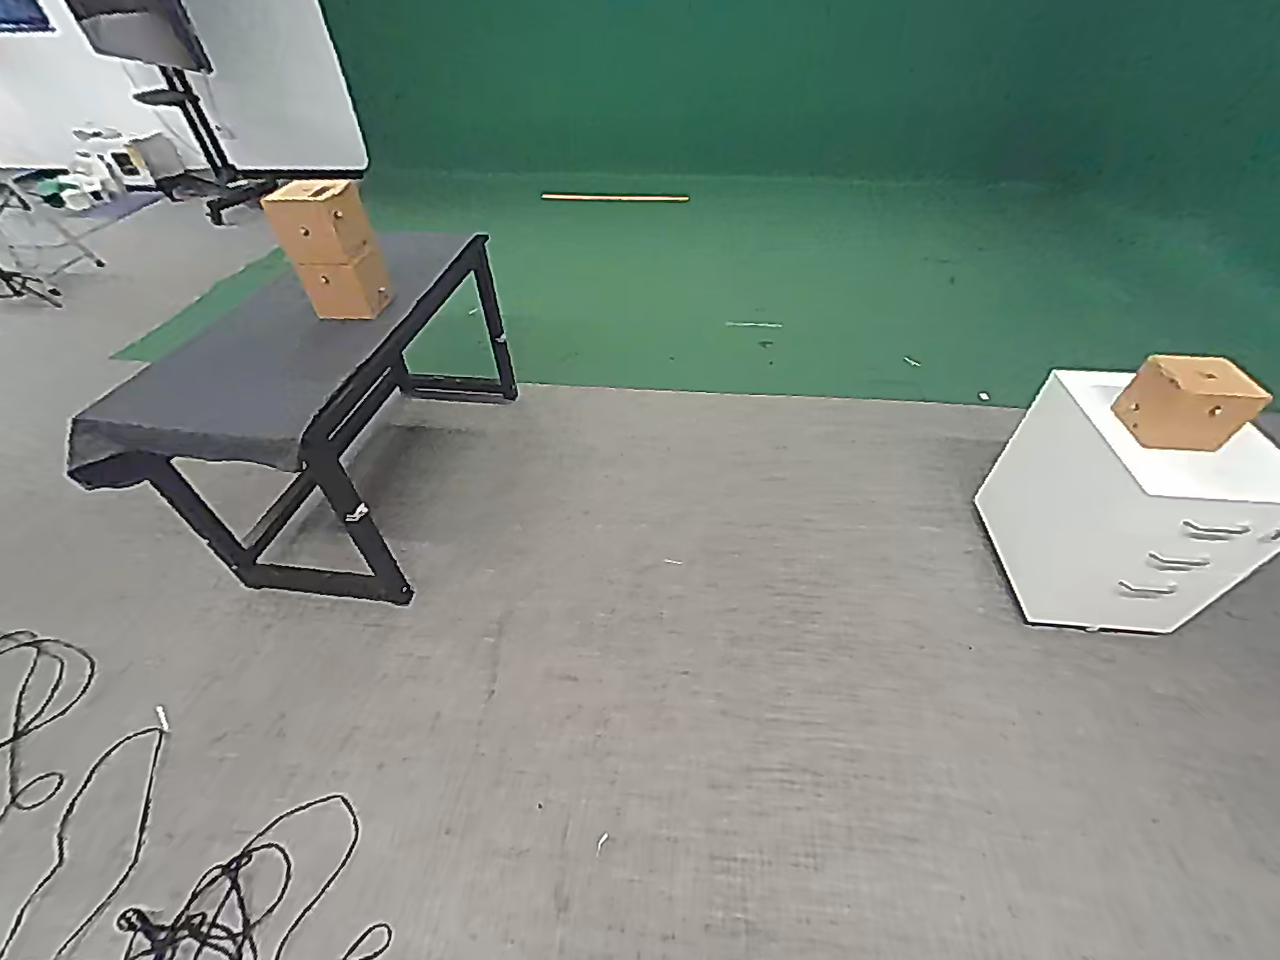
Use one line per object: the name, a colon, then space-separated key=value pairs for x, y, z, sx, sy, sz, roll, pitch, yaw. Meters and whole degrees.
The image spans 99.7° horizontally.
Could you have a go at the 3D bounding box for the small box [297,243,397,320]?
small box: x=-0.864 y=-0.589 z=1.611 sx=0.179 sy=0.176 sz=0.168 roll=2 pitch=45 yaw=4

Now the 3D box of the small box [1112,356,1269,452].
small box: x=1.332 y=-0.183 z=1.326 sx=0.179 sy=0.176 sz=0.168 roll=4 pitch=44 yaw=5
